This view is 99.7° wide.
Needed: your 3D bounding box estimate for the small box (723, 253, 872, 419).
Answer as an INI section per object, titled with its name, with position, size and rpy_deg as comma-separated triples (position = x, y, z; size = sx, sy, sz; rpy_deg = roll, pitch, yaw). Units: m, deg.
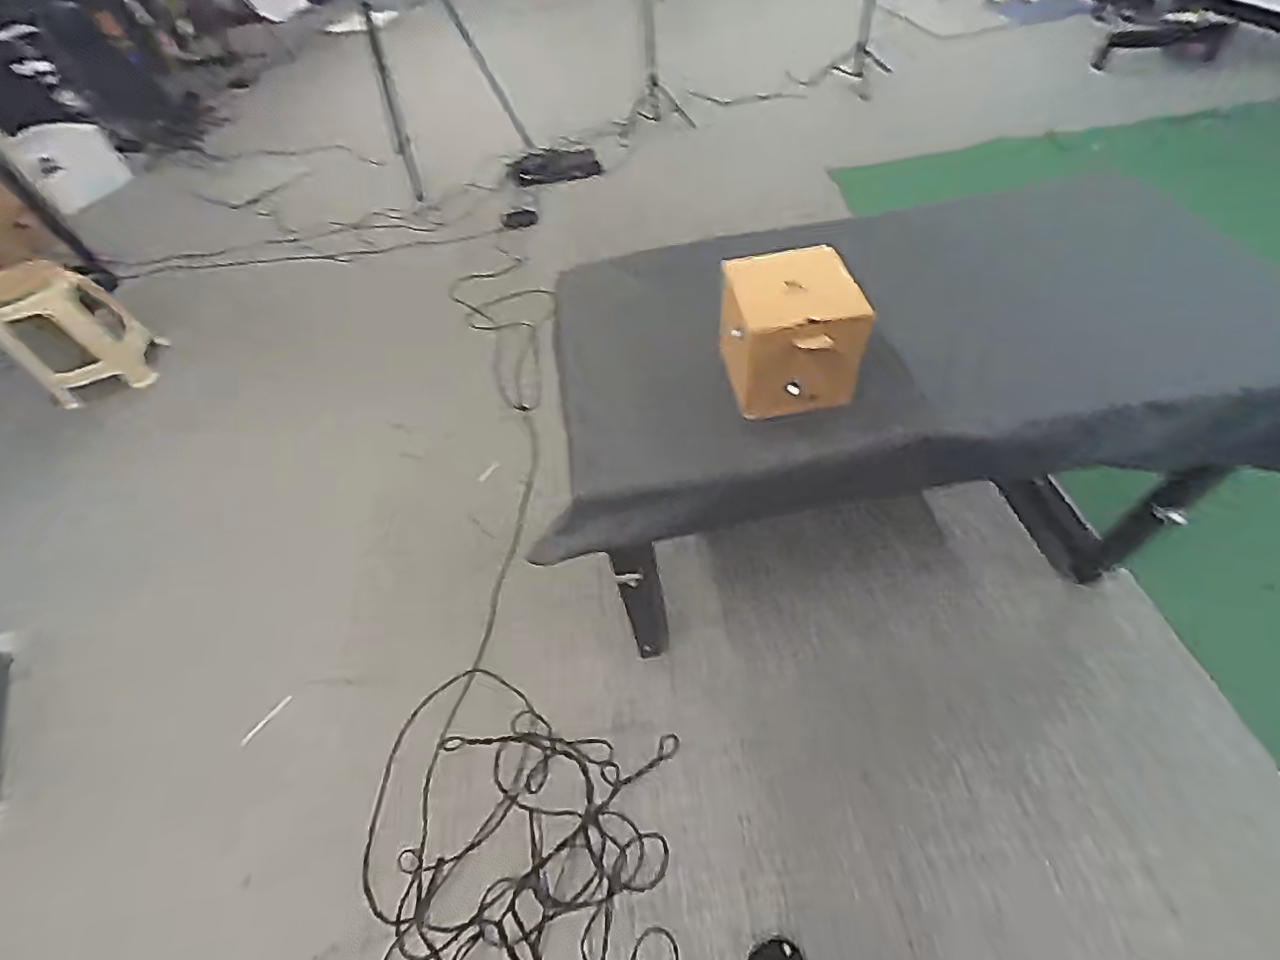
[small box]
position = 0.226, -0.220, 0.834
size = 0.168, 0.176, 0.179
rpy_deg = -9, 52, 0
